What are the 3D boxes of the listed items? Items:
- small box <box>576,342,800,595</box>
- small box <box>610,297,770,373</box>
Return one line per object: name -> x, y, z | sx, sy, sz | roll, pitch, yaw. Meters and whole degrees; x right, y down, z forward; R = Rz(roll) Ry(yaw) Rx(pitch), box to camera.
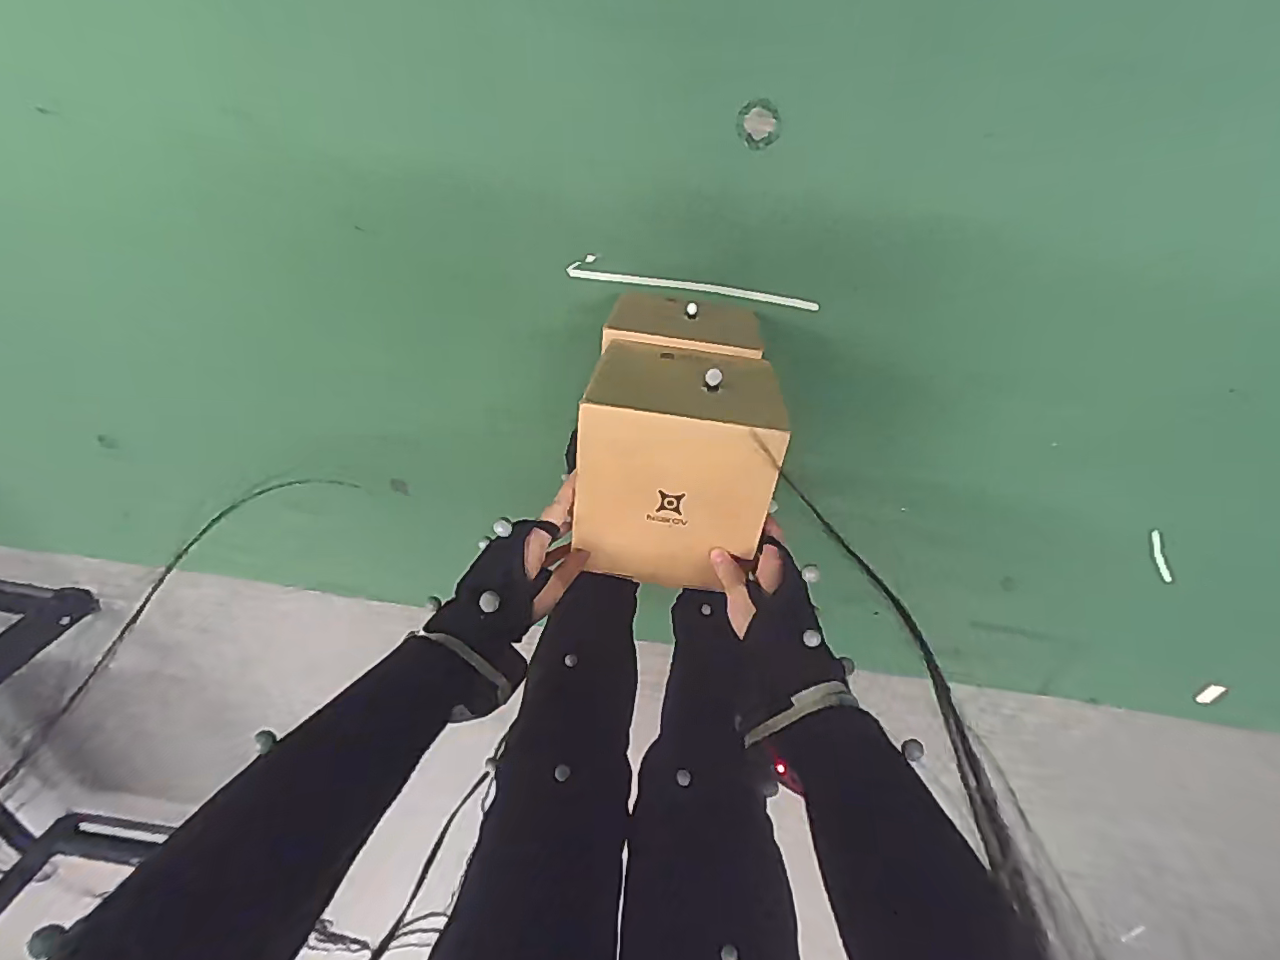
small box -> 0.038, -0.020, 0.523 | 0.168, 0.176, 0.179 | 9, 122, 1
small box -> 0.047, -0.111, 0.658 | 0.168, 0.176, 0.179 | 10, 121, 1
